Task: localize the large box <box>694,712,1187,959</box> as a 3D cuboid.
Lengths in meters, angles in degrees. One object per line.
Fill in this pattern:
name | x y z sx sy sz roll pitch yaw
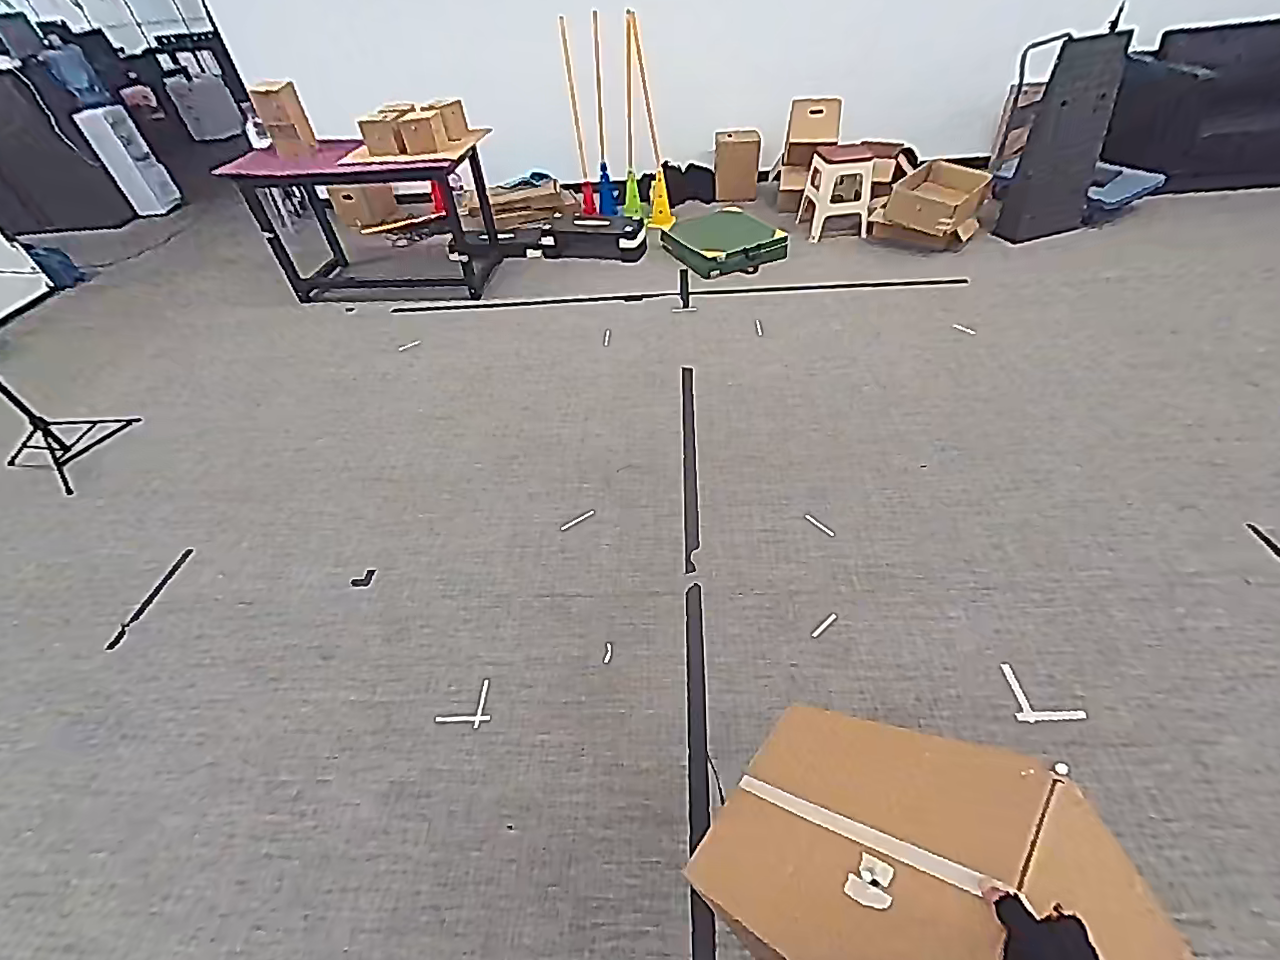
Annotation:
large box | 0.354 0.558 0.696 0.320 0.408 0.320 -43 100 -29
